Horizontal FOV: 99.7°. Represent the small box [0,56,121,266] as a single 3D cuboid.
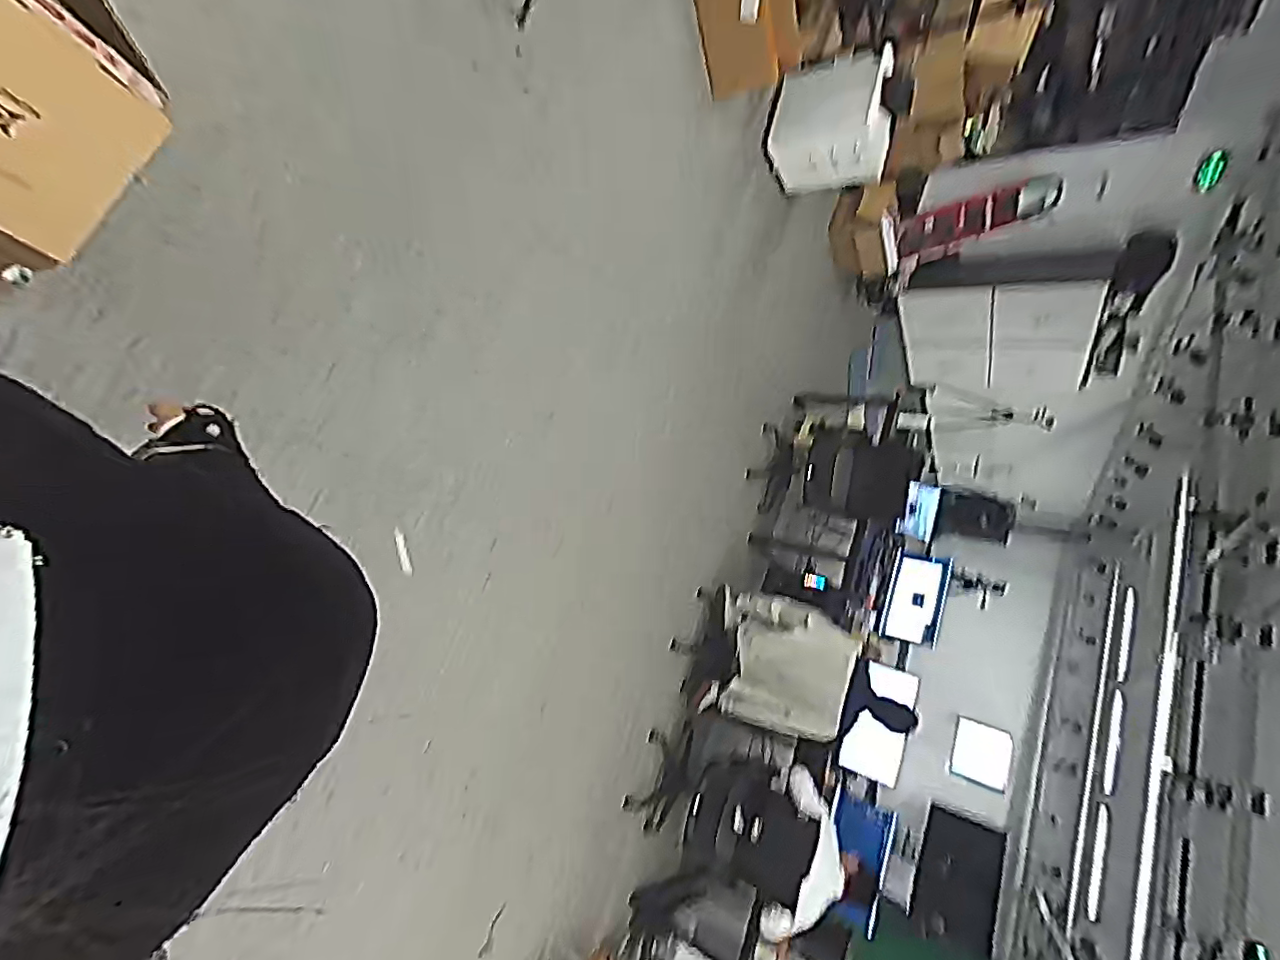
[{"bbox_3d":[-0.722,-0.351,0.579,0.168,0.176,0.179,42,66,-51],"label":"small box"}]
